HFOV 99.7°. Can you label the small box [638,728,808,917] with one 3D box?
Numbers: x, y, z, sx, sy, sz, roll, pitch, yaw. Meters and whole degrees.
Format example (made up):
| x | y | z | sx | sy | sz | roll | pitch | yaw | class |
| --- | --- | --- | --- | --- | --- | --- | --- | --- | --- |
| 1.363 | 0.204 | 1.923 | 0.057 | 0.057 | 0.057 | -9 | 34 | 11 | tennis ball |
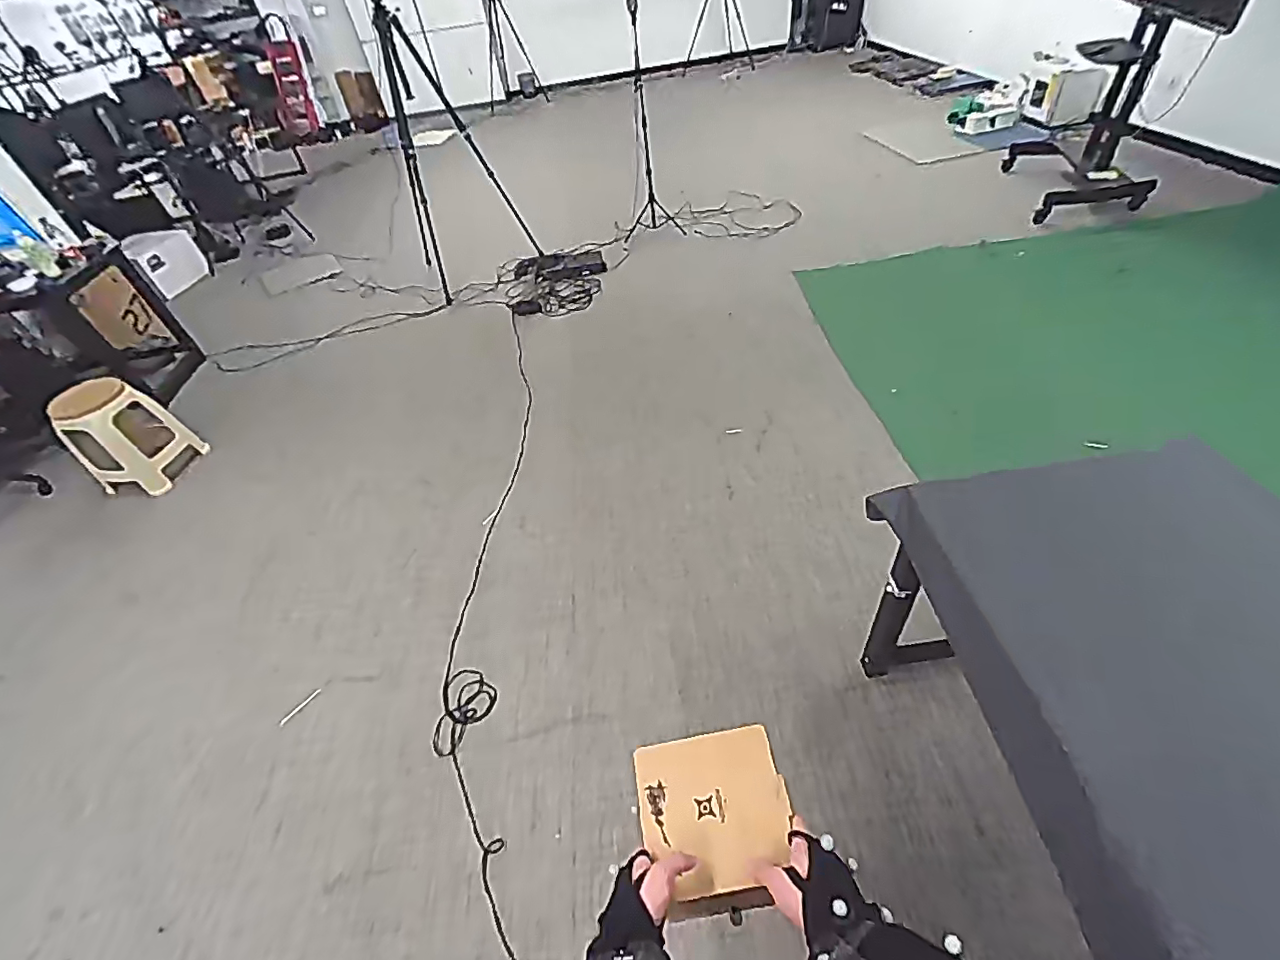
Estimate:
| x | y | z | sx | sy | sz | roll | pitch | yaw | class |
| --- | --- | --- | --- | --- | --- | --- | --- | --- | --- |
| 0.101 | 0.444 | 0.699 | 0.179 | 0.176 | 0.168 | -11 | 45 | 2 | small box |
